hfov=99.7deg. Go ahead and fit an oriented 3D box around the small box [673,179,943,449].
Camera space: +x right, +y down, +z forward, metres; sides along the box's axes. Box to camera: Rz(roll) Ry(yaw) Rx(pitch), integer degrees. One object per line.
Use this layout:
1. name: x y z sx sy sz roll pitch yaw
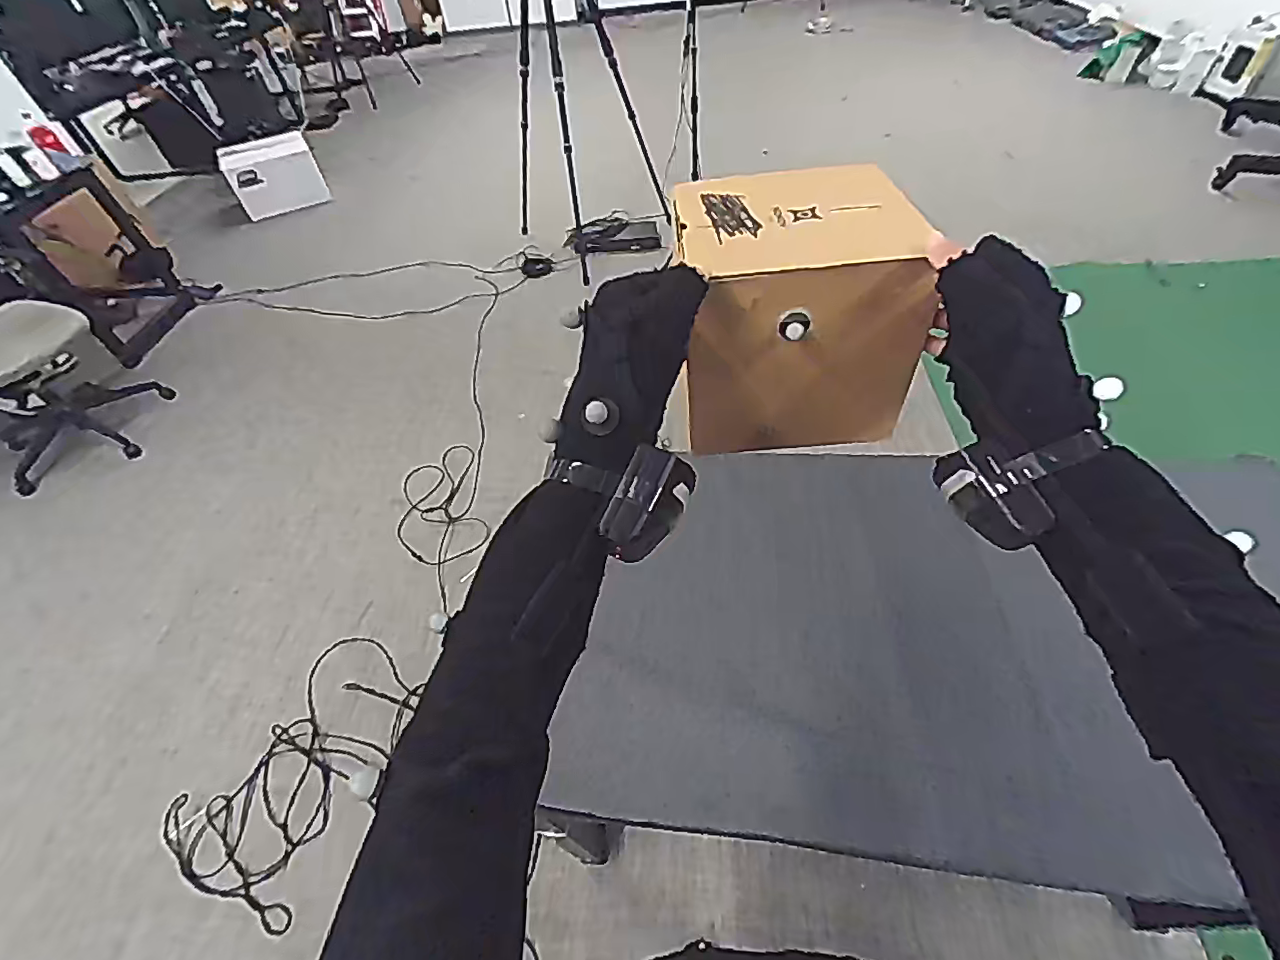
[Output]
1. small box: 0.124 -0.141 0.477 0.179 0.176 0.168 -4 47 2
